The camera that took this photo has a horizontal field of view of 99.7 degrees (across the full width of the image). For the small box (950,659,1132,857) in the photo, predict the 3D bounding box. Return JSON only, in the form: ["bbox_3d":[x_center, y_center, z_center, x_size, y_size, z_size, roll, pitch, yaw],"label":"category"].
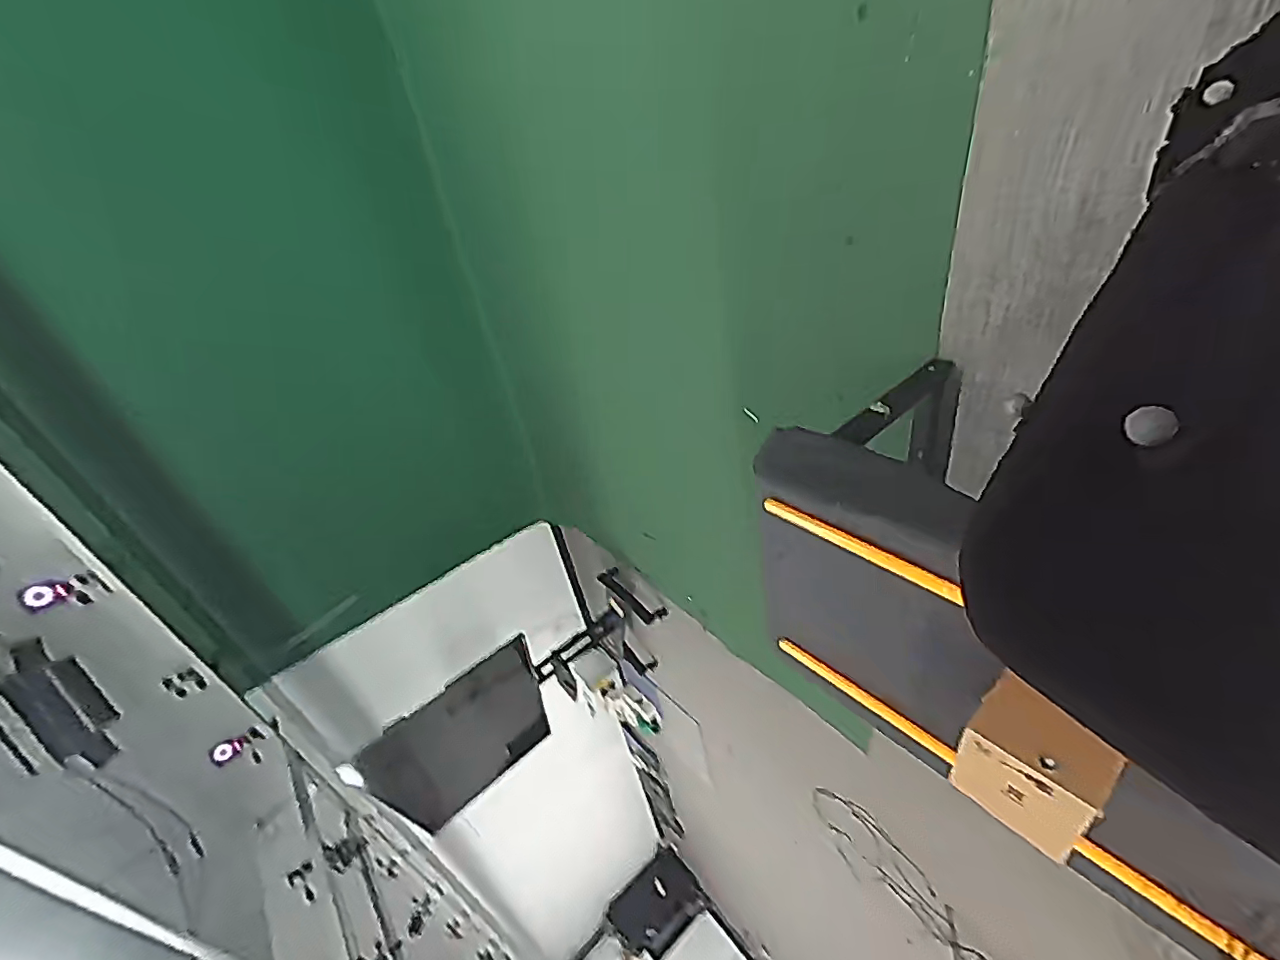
[{"bbox_3d":[0.615,0.422,0.838,0.168,0.176,0.179,28,142,44],"label":"small box"}]
